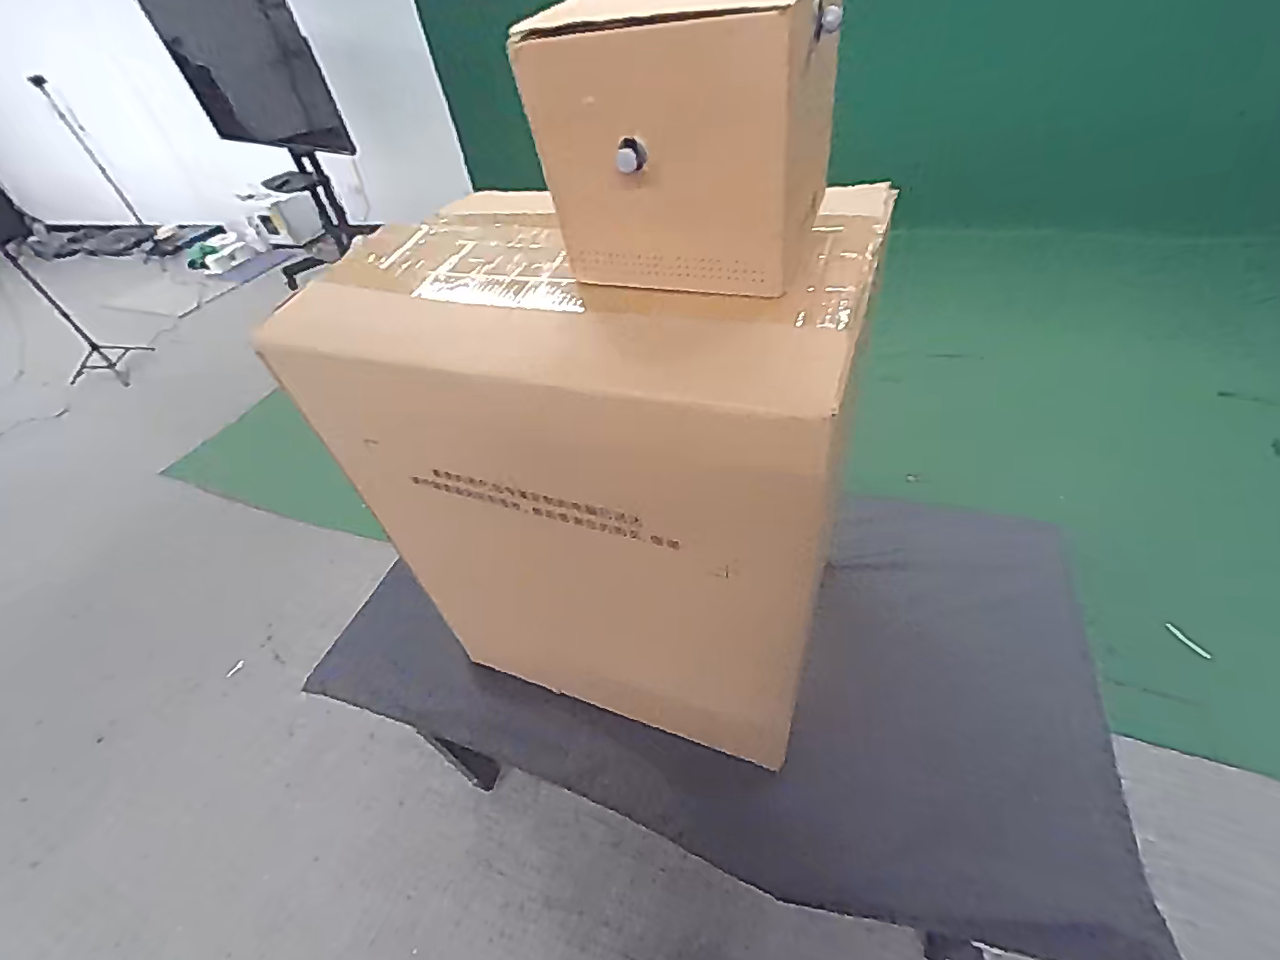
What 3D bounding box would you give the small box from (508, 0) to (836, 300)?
[{"bbox_3d":[0.038,-0.255,0.408,0.179,0.176,0.168,12,54,22],"label":"small box"}]
